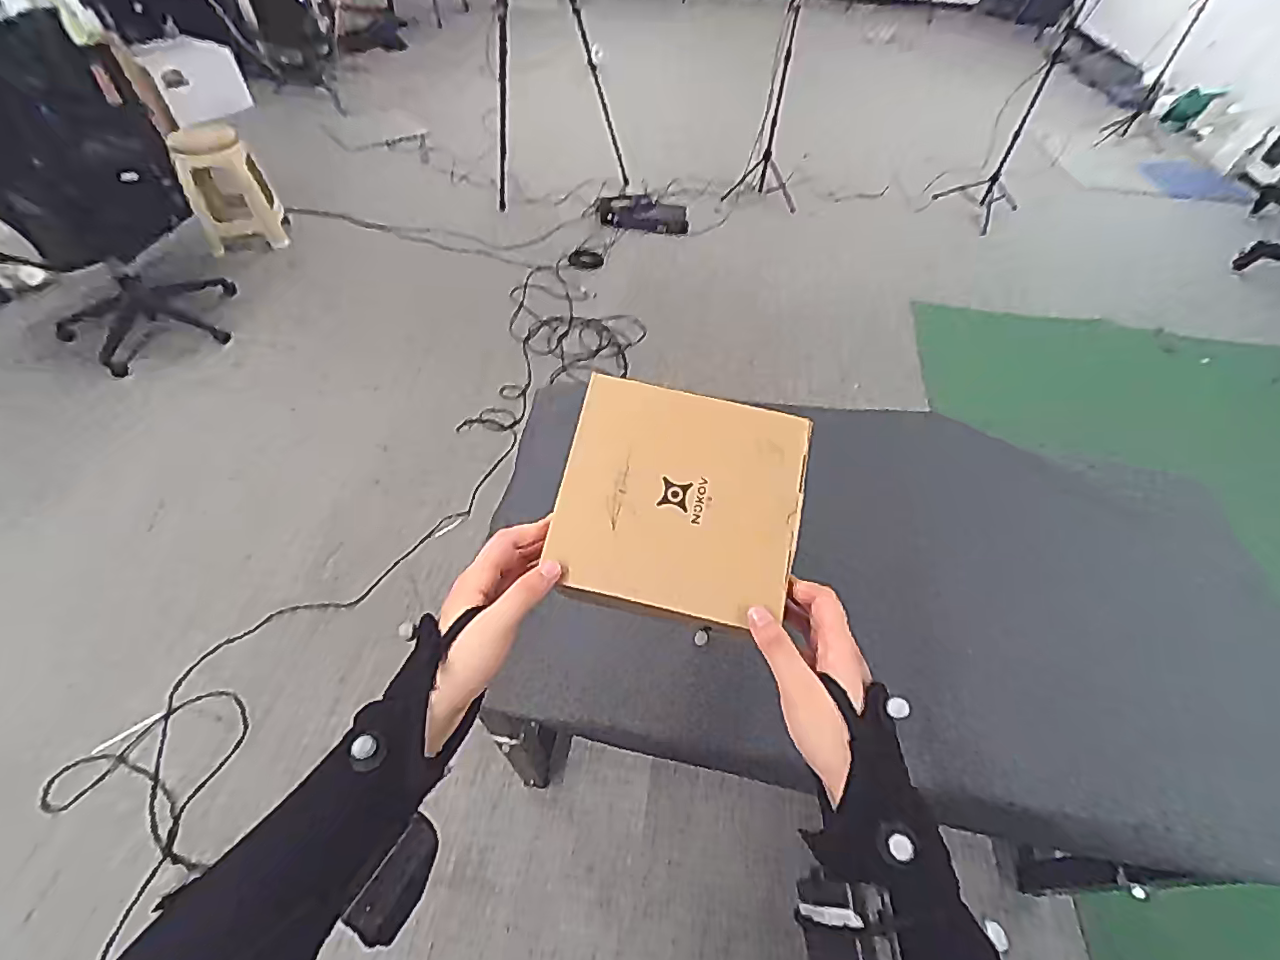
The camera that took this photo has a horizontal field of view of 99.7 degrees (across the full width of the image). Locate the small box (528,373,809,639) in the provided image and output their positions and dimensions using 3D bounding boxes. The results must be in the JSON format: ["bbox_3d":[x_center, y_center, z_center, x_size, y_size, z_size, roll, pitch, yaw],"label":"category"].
[{"bbox_3d":[0.025,0.034,0.460,0.179,0.176,0.168,11,73,5],"label":"small box"}]
